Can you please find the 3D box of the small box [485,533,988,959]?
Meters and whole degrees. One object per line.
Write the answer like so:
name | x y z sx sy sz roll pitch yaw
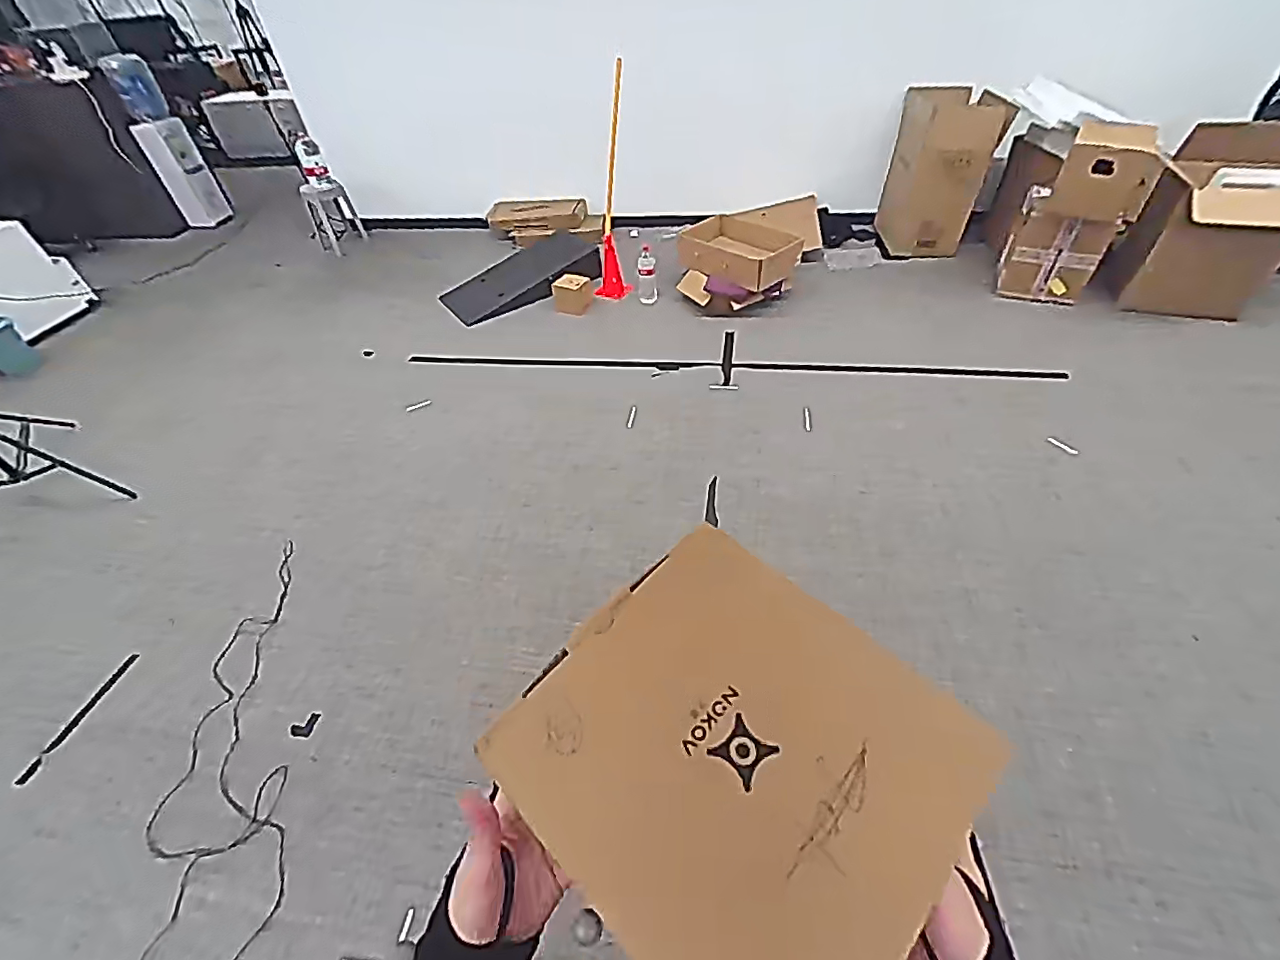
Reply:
small box | 0.045 0.171 0.313 0.179 0.176 0.168 35 62 26
